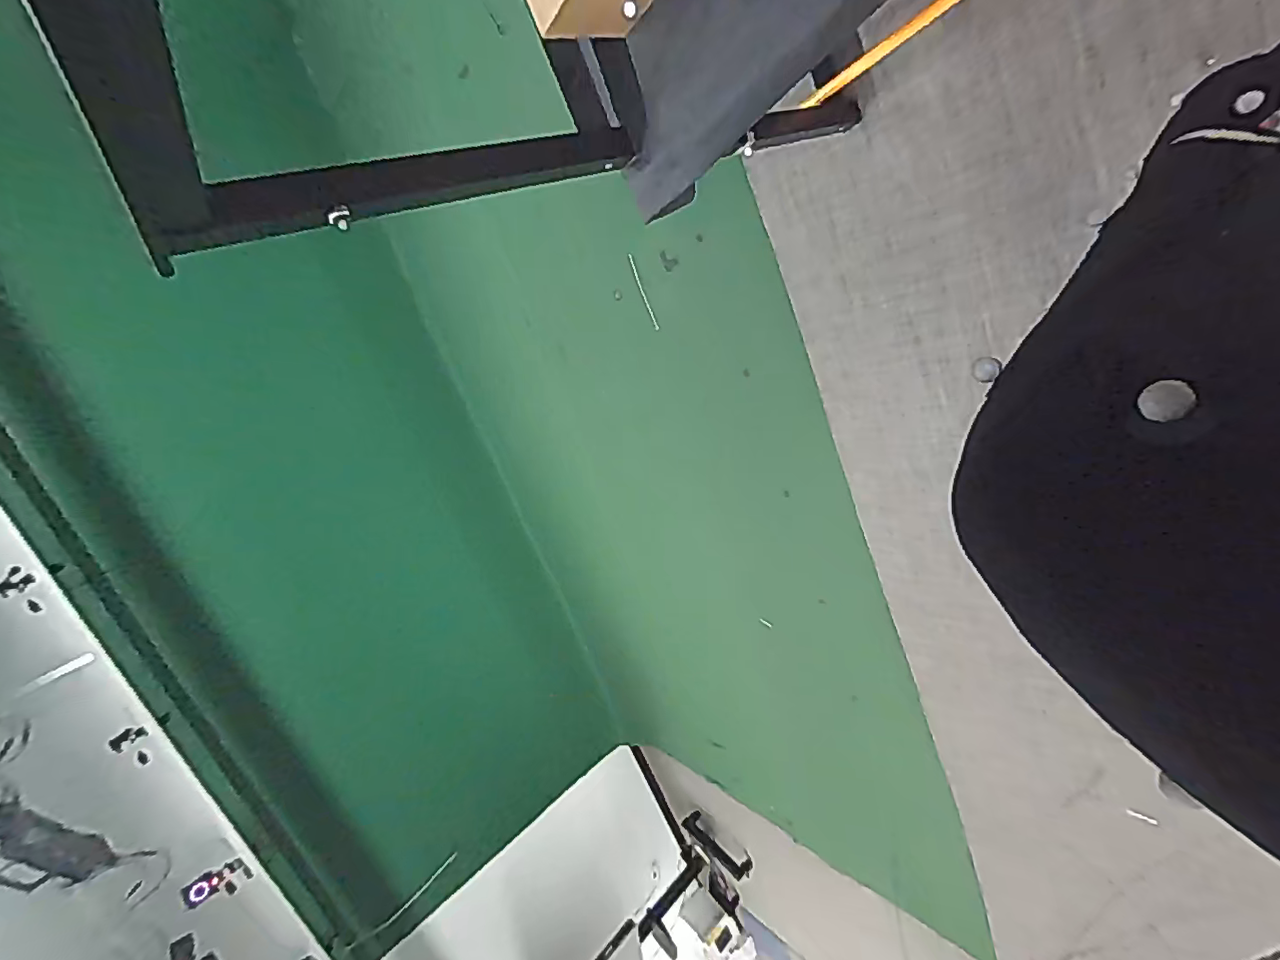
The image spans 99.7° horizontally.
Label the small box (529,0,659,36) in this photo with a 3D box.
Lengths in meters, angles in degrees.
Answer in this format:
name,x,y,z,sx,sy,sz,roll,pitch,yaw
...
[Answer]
name,x,y,z,sx,sy,sz,roll,pitch,yaw
small box,-0.065,-0.765,0.755,0.168,0.176,0.179,-3,114,55
